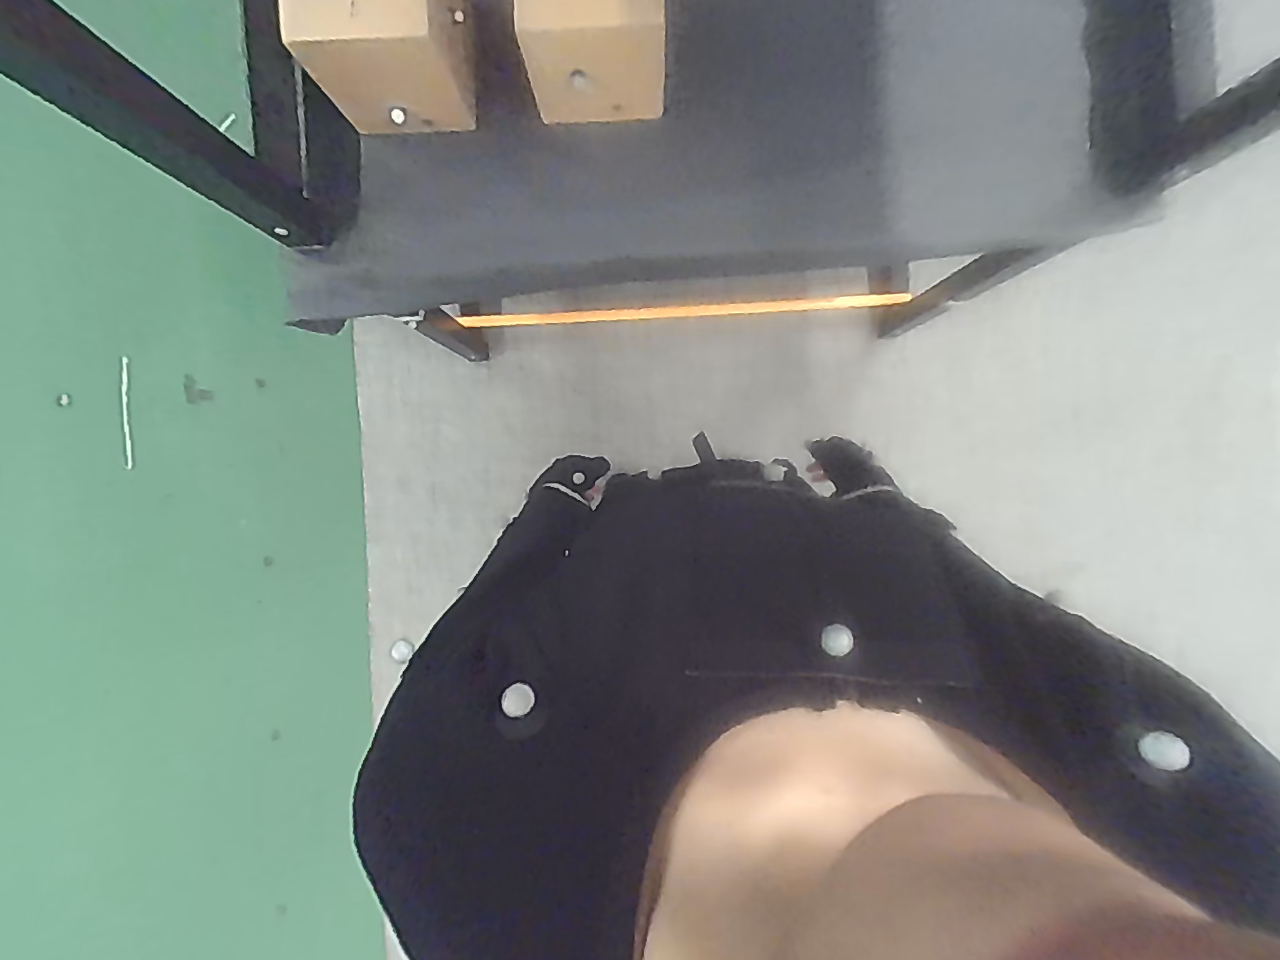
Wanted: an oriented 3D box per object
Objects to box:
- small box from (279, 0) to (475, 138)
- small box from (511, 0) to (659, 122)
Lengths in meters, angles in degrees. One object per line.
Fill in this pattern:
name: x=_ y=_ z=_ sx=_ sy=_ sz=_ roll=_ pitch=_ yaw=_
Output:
small box: x=-0.313 y=-0.563 z=0.671 sx=0.168 sy=0.176 sz=0.179 roll=-2 pitch=92 yaw=1
small box: x=-0.060 y=-0.575 z=0.670 sx=0.168 sy=0.176 sz=0.179 roll=-2 pitch=91 yaw=1
